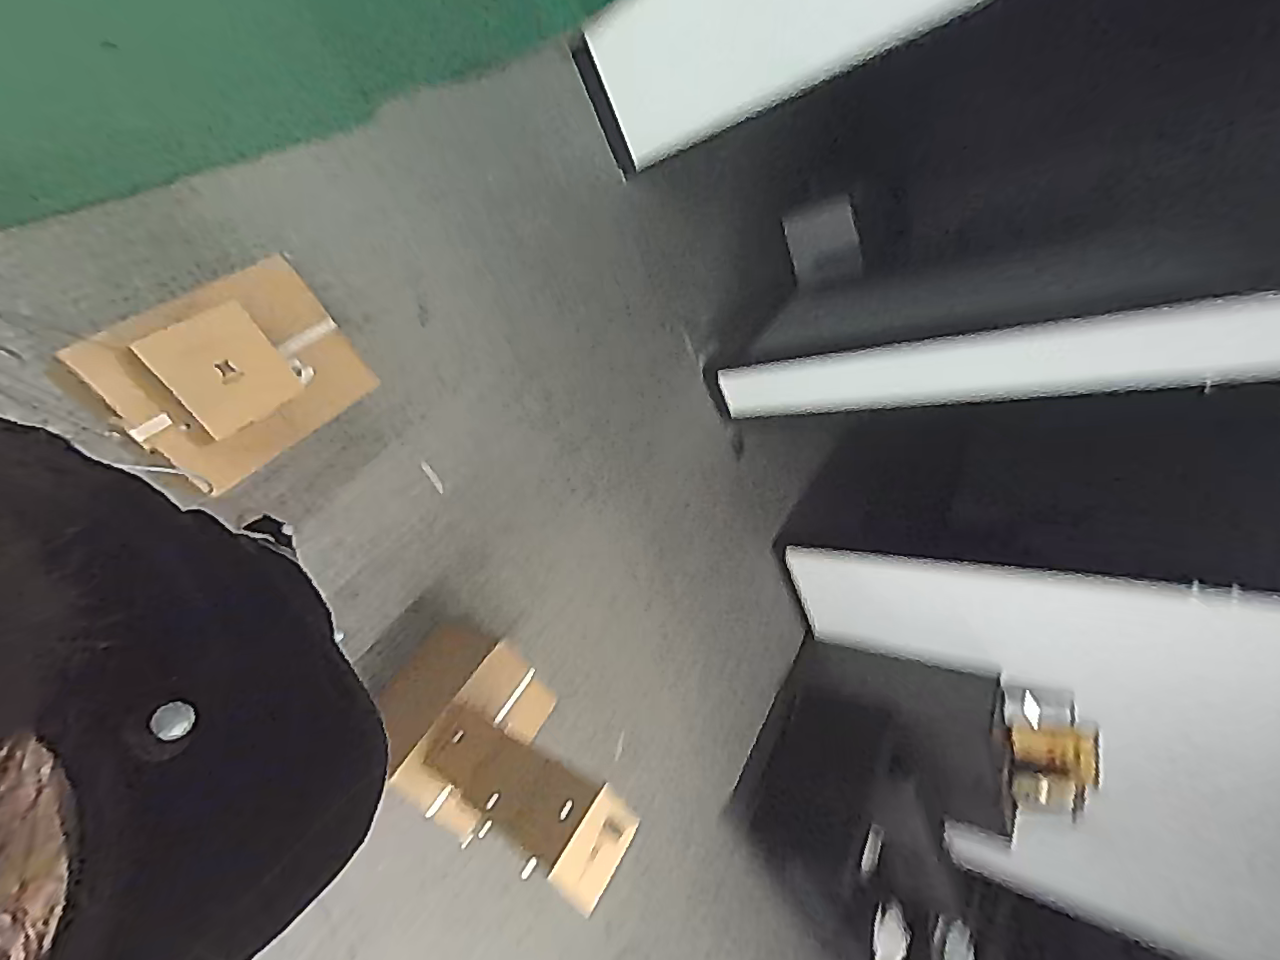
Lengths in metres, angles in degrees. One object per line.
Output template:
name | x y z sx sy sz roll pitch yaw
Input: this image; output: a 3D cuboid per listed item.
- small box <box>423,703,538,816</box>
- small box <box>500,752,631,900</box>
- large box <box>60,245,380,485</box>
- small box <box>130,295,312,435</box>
small box | -0.397 0.686 1.348 0.168 0.176 0.179 -52 126 -33
small box | -0.155 0.707 1.125 0.179 0.176 0.168 -48 124 -34
large box | -0.863 -0.229 1.140 0.408 0.320 0.320 -51 127 -35
small box | -0.719 -0.191 0.932 0.168 0.176 0.179 -49 124 -37
